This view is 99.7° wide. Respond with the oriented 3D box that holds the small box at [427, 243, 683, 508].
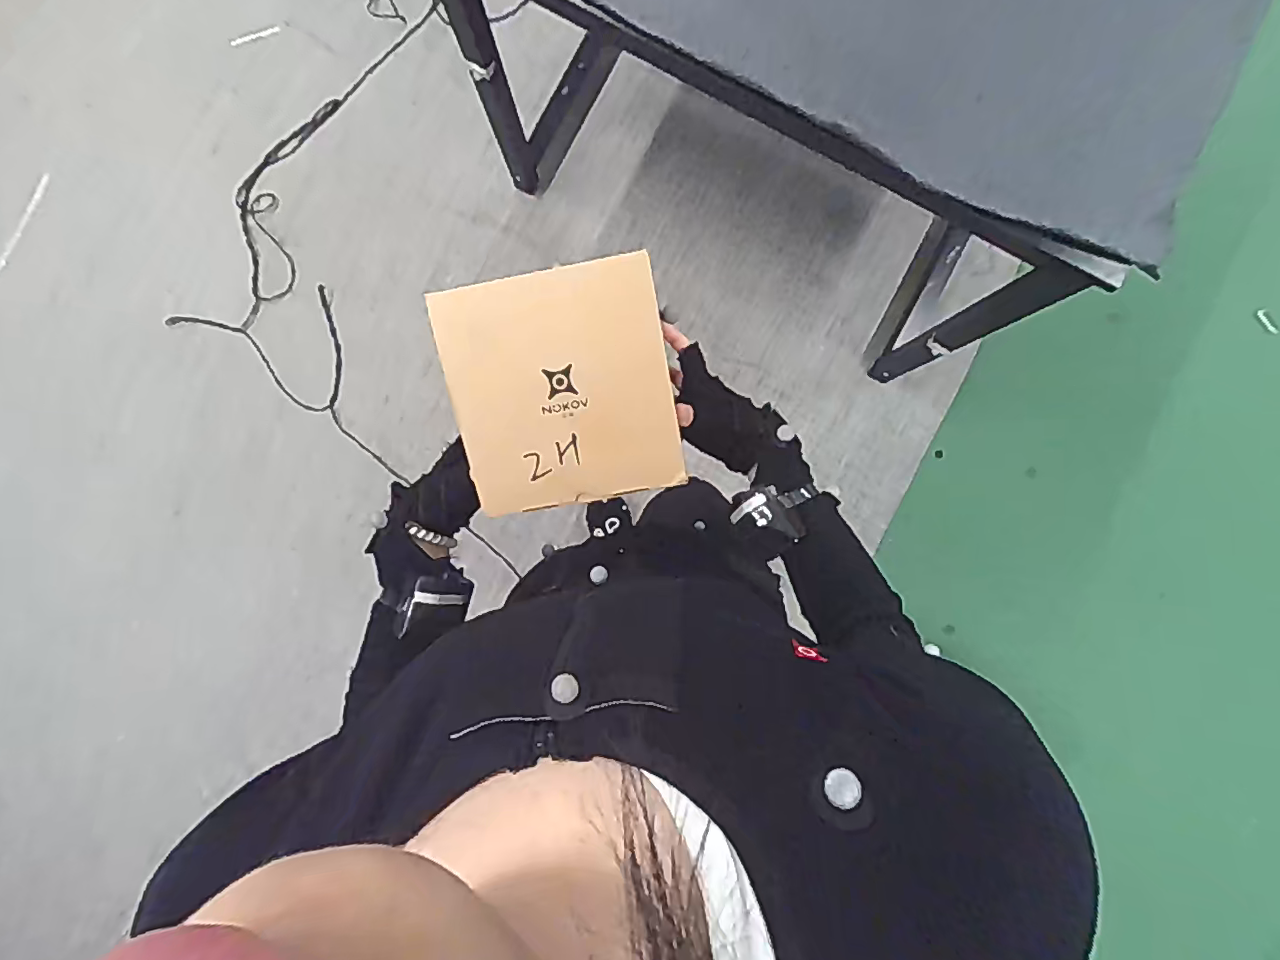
[{"bbox_3d":[-0.060,-0.090,0.480,0.168,0.176,0.179,-9,104,4],"label":"small box"}]
